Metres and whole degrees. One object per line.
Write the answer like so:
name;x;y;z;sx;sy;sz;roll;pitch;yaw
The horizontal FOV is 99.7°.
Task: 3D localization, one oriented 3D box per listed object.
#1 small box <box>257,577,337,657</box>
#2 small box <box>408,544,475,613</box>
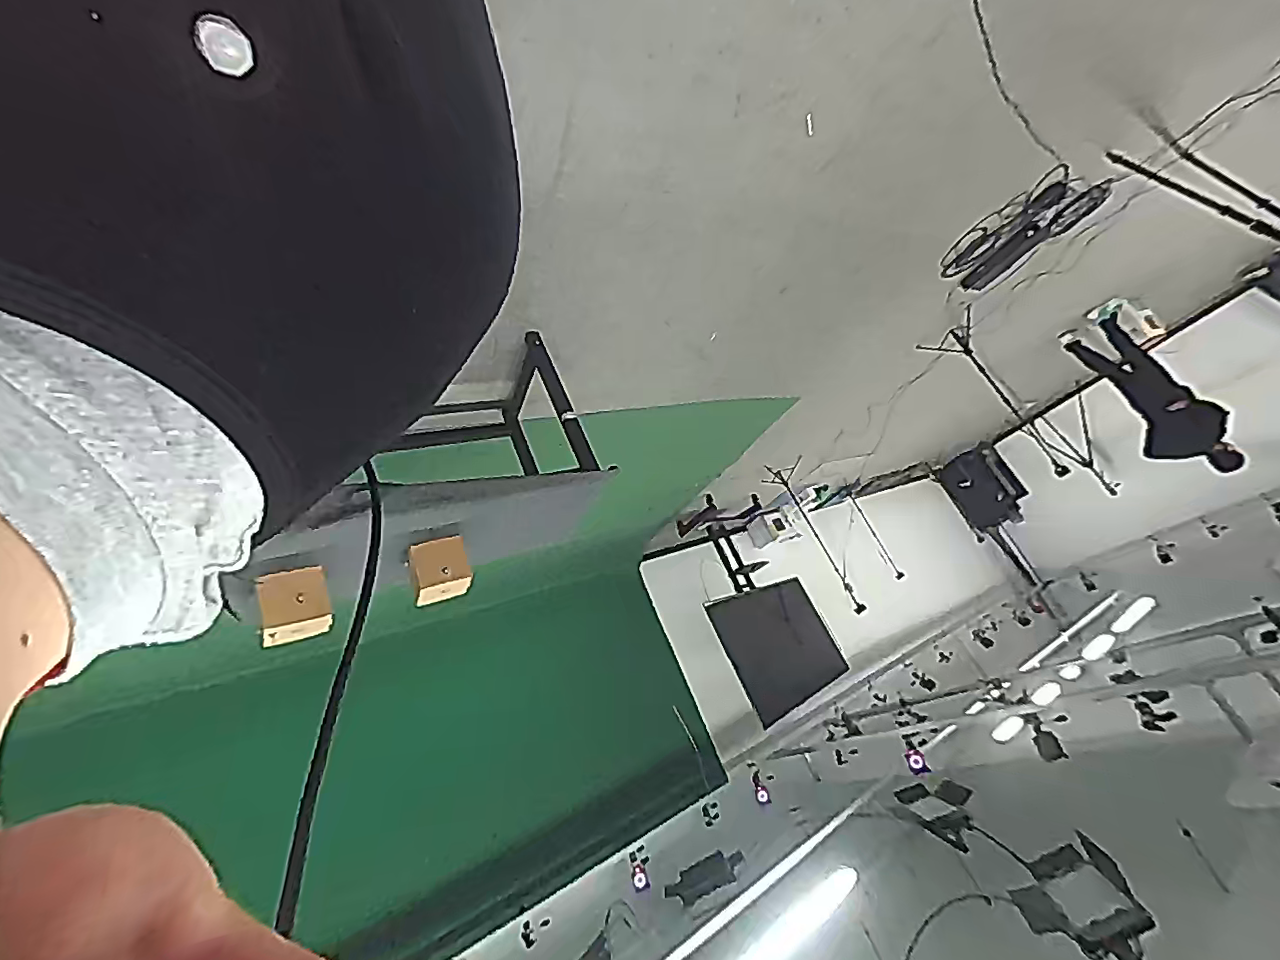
small box;-1.056;0.414;1.661;0.179;0.176;0.168;-10;153;-39
small box;-0.705;0.341;1.910;0.179;0.176;0.168;-11;153;-32
